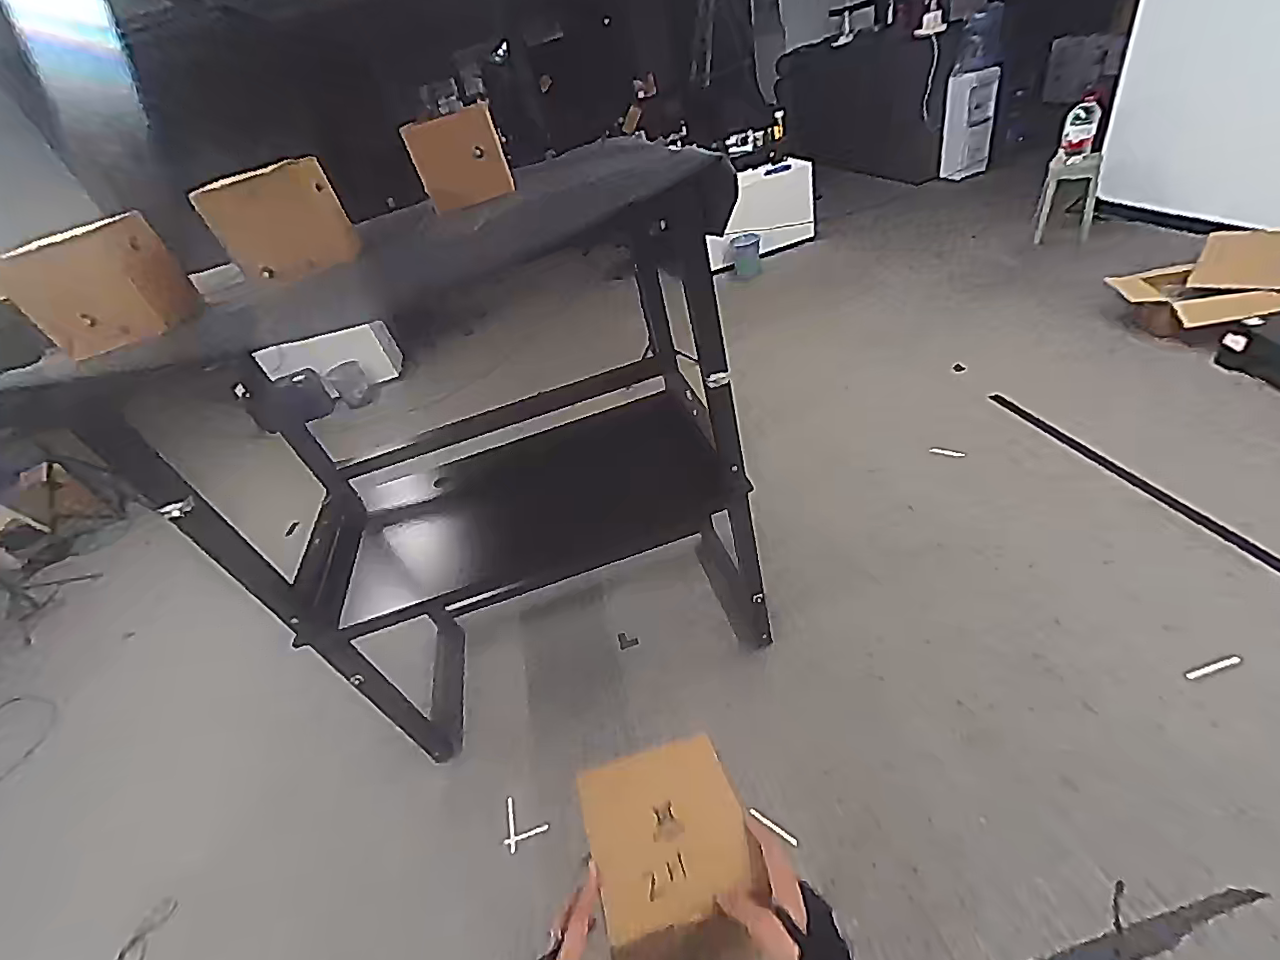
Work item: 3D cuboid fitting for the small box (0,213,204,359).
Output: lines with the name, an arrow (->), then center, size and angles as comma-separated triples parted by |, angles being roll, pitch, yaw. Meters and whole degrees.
small box -> -0.901, -0.330, 0.922 | 0.168, 0.176, 0.179 | -21, 39, -5

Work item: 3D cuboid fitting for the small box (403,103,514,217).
small box -> -0.381, -0.696, 1.175 | 0.179, 0.176, 0.168 | -17, 37, -1
